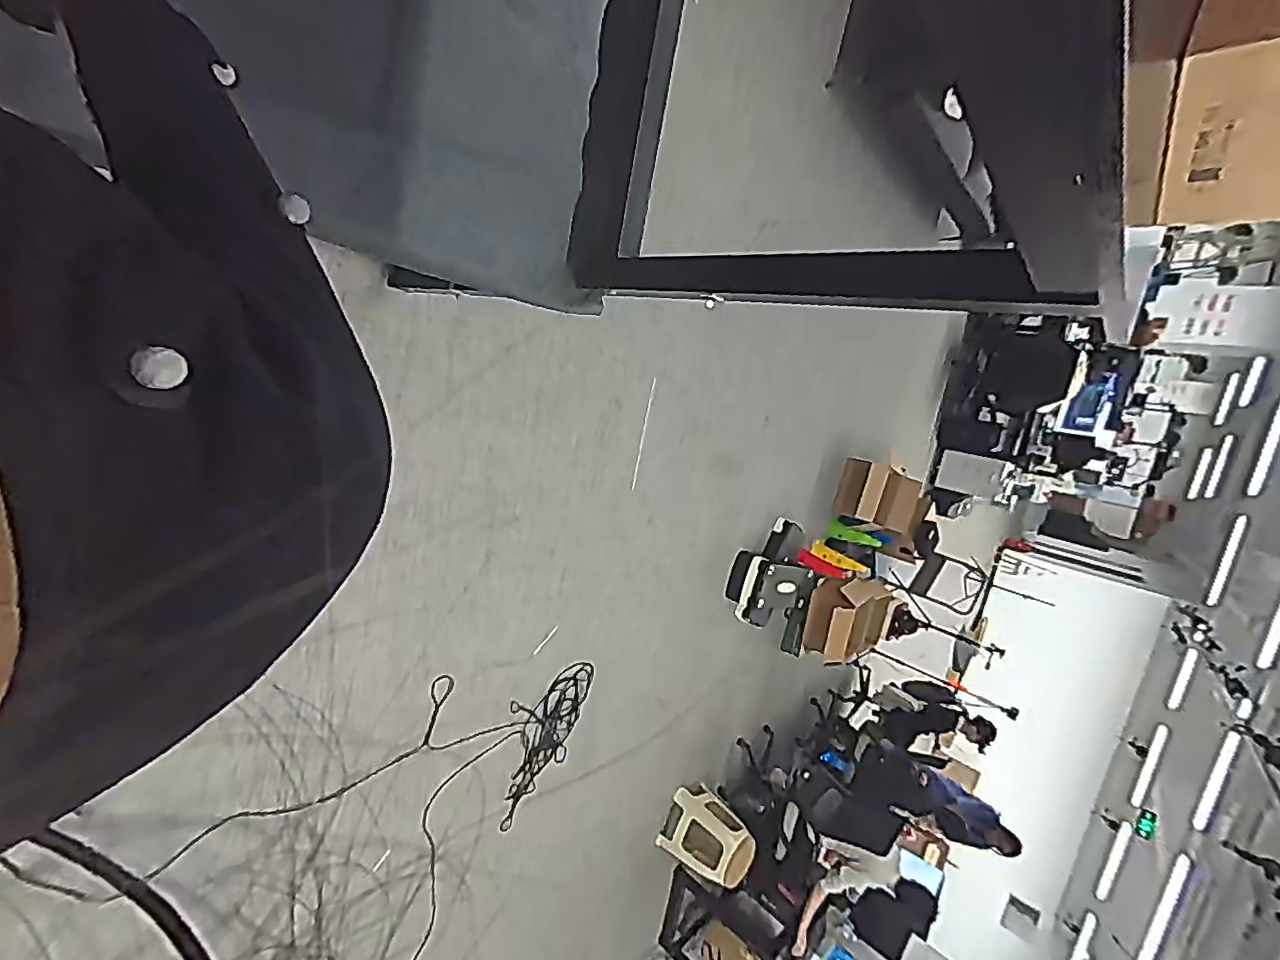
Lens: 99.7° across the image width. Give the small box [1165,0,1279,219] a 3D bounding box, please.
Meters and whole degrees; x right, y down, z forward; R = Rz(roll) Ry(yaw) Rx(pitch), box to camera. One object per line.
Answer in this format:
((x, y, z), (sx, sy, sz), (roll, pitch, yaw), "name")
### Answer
((0.411, -0.258, 0.276), (0.168, 0.176, 0.179), (17, 91, -50), "small box")
